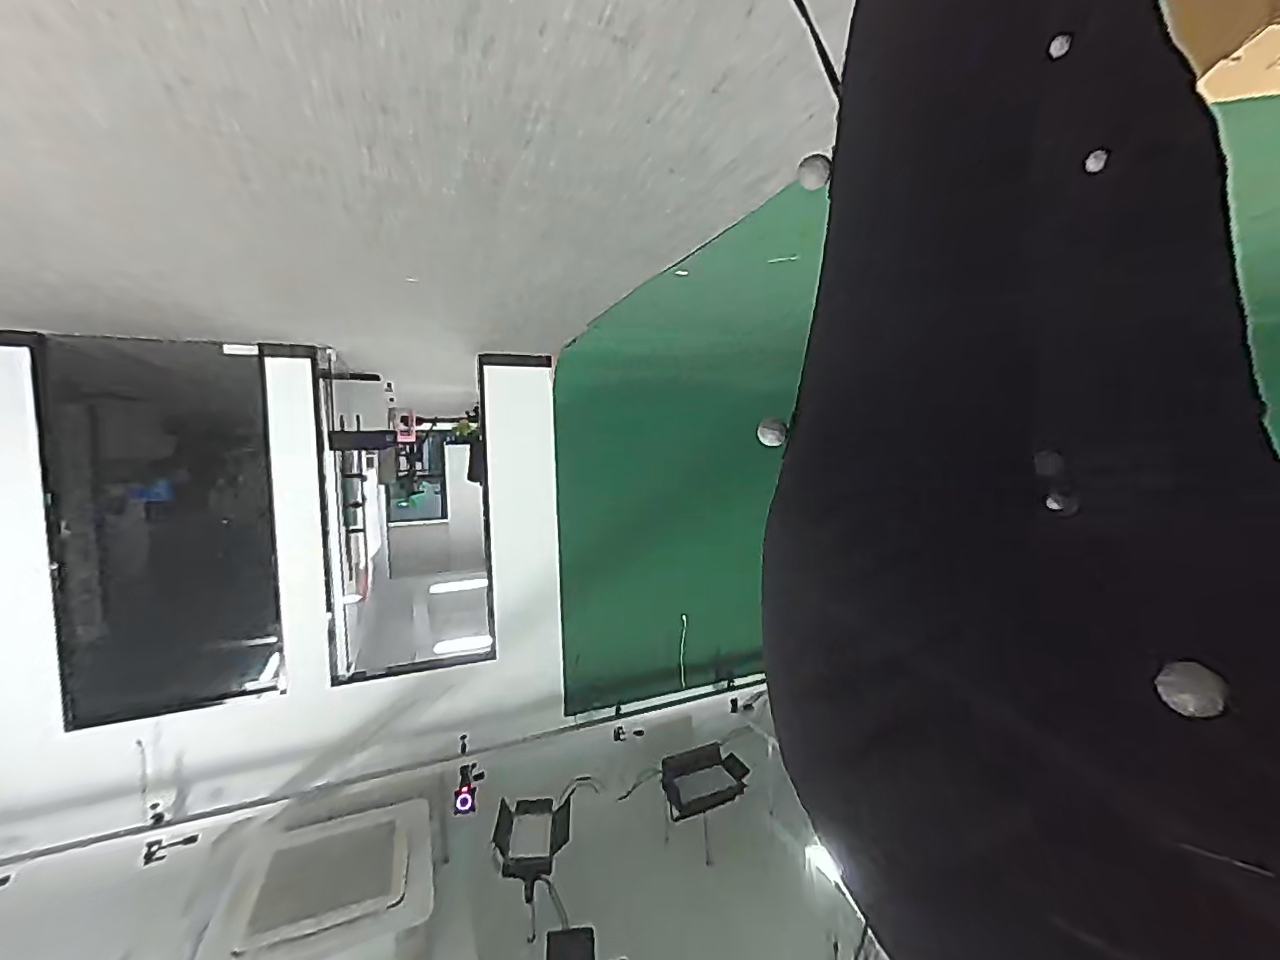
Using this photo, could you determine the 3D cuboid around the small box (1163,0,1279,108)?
[{"bbox_3d":[0.856,-0.638,0.715,0.179,0.176,0.168,0,-177,11],"label":"small box"}]
